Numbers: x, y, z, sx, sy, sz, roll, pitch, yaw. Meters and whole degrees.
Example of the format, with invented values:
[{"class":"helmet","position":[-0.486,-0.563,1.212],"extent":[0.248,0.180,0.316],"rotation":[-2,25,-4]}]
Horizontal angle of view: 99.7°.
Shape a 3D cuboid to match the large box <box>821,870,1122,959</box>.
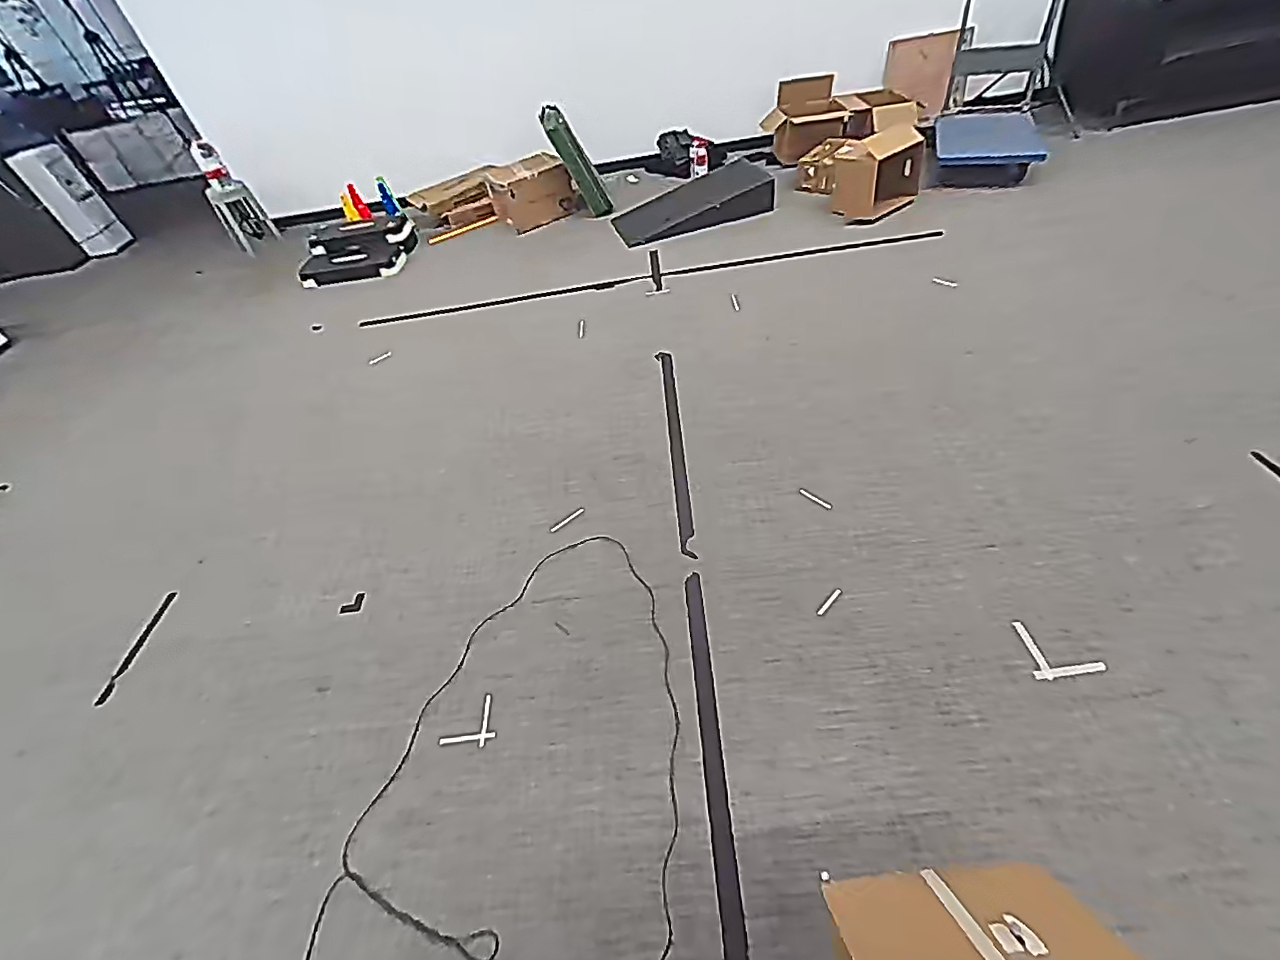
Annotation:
[{"class":"large box","position":[0.436,0.728,0.590],"extent":[0.320,0.408,0.320],"rotation":[-6,86,0]}]
